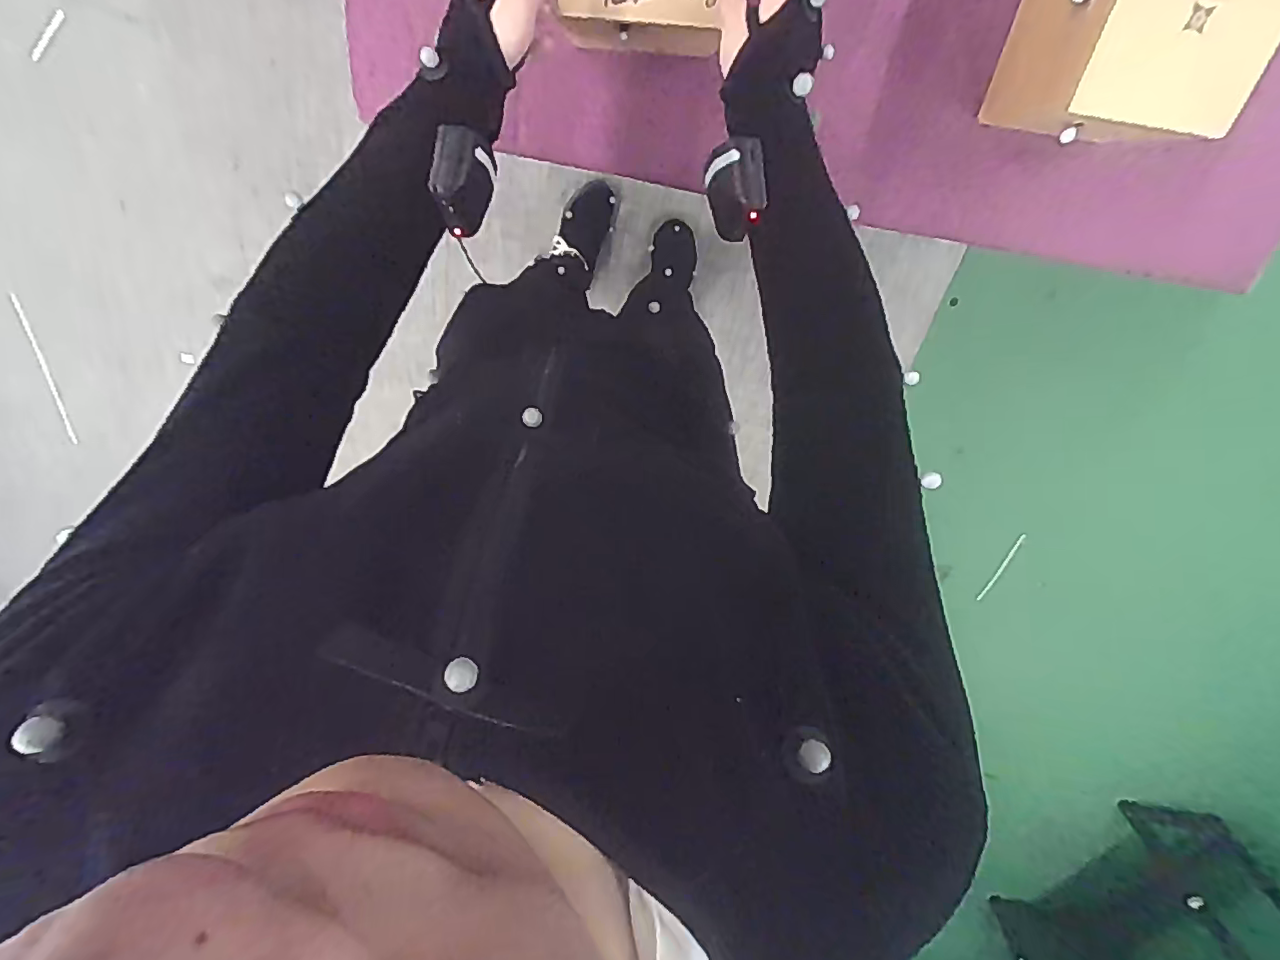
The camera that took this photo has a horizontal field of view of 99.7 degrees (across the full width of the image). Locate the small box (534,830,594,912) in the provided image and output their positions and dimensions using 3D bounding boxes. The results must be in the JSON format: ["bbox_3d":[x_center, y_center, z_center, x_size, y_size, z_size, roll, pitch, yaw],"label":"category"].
[{"bbox_3d":[-0.253,1.326,1.838,0.168,0.176,0.179,13,120,-6],"label":"small box"}]

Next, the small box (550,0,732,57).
[{"bbox_3d":[0.006,-0.531,0.514,0.168,0.176,0.179,4,121,-1],"label":"small box"}]

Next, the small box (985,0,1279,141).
[{"bbox_3d":[0.496,-0.460,0.552,0.168,0.176,0.179,7,120,-3],"label":"small box"}]
